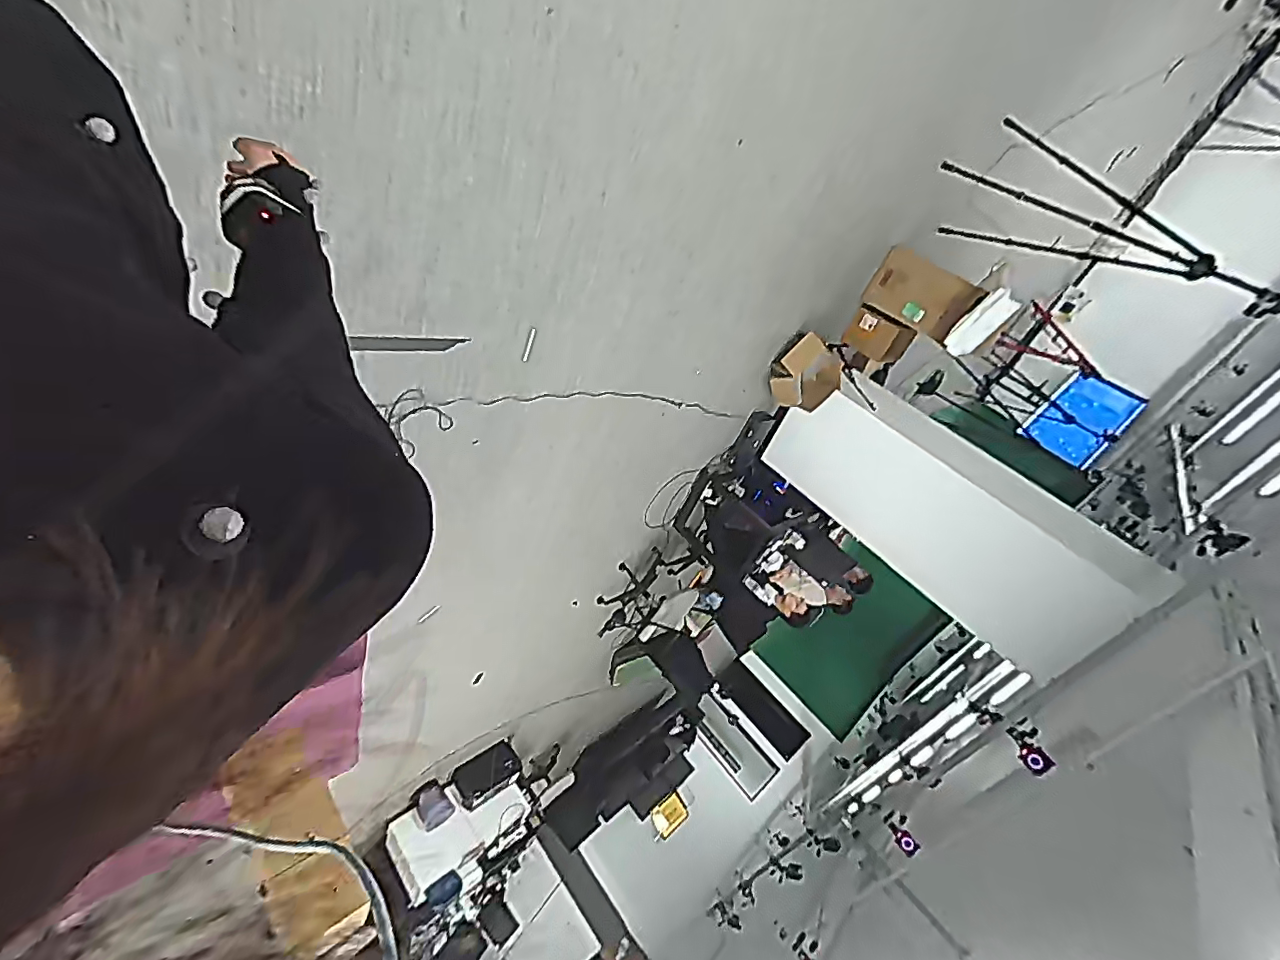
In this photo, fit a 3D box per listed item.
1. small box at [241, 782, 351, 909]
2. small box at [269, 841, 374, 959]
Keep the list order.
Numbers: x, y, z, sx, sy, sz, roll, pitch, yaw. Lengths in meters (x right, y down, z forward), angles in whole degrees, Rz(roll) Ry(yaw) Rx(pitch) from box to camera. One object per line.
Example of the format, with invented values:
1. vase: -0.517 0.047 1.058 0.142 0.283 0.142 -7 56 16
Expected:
1. small box: -0.862 0.903 1.354 0.179 0.176 0.168 -7 134 -51
2. small box: -0.757 1.001 1.278 0.168 0.176 0.179 -15 140 -46
